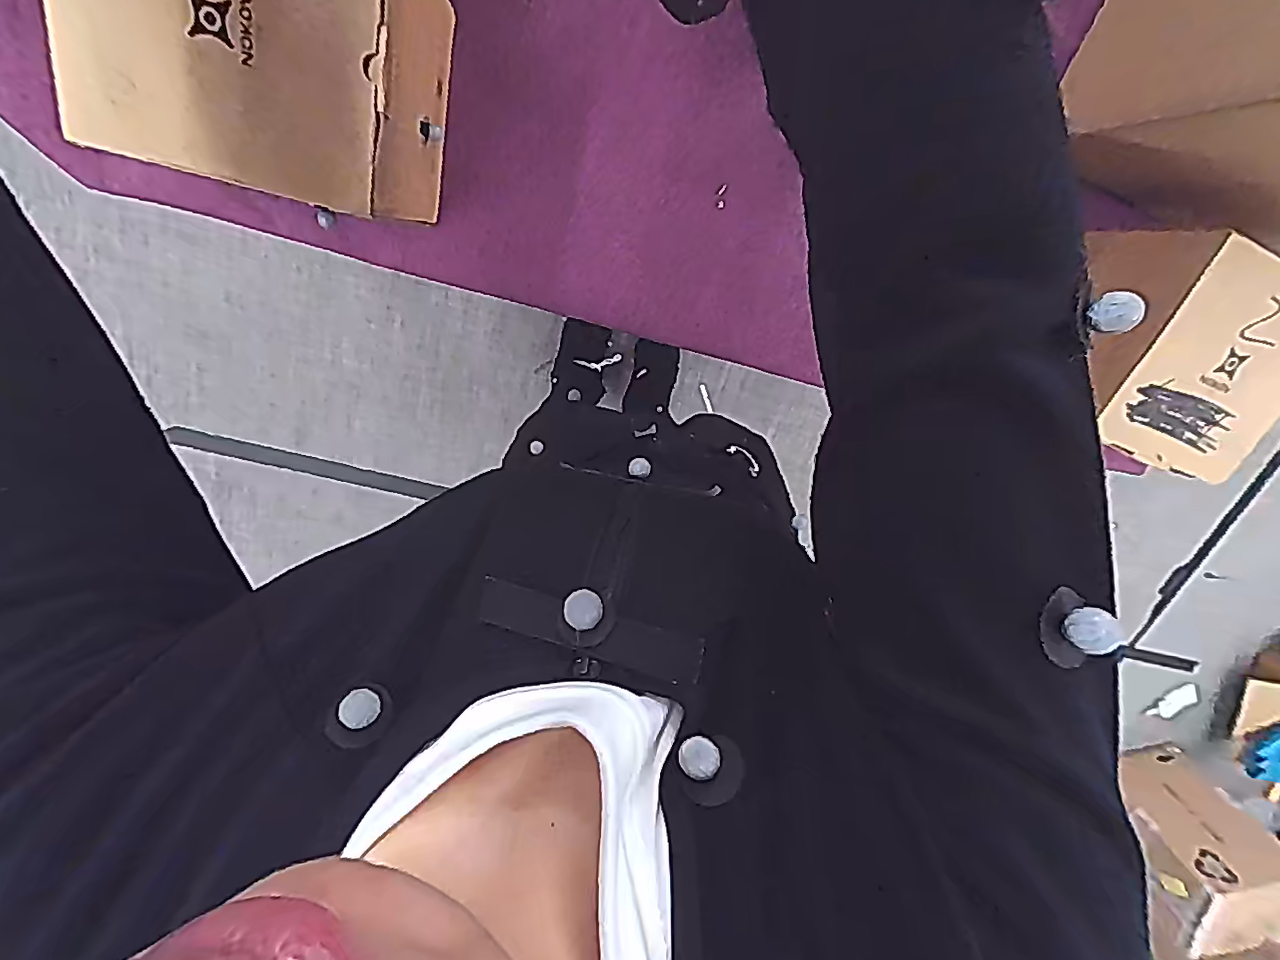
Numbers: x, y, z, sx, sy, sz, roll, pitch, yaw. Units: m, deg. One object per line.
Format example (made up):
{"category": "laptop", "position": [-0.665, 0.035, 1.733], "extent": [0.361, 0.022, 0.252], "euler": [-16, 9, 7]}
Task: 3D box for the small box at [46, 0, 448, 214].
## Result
{"category": "small box", "position": [-0.249, -0.295, 0.380], "extent": [0.179, 0.176, 0.168], "euler": [9, 112, -12]}
